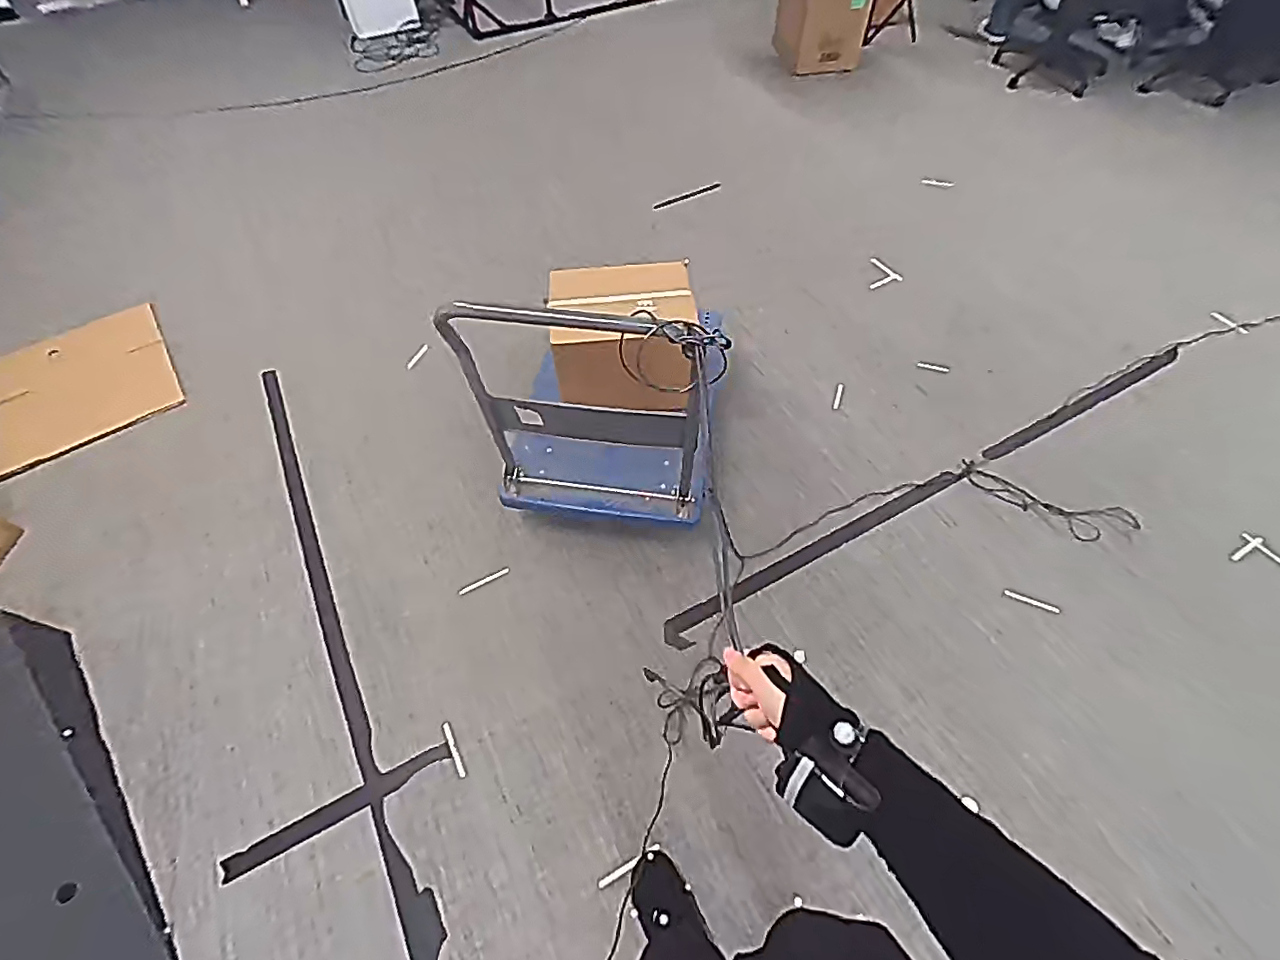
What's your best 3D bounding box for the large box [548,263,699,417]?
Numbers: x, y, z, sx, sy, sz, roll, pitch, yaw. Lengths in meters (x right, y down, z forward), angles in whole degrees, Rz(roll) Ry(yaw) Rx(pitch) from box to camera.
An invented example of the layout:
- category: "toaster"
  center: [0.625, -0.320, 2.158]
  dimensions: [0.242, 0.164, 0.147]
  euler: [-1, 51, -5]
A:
- category: "large box"
  center: [-0.055, -0.415, 1.627]
  dimensions: [0.408, 0.320, 0.320]
  euler: [-5, 58, -3]
